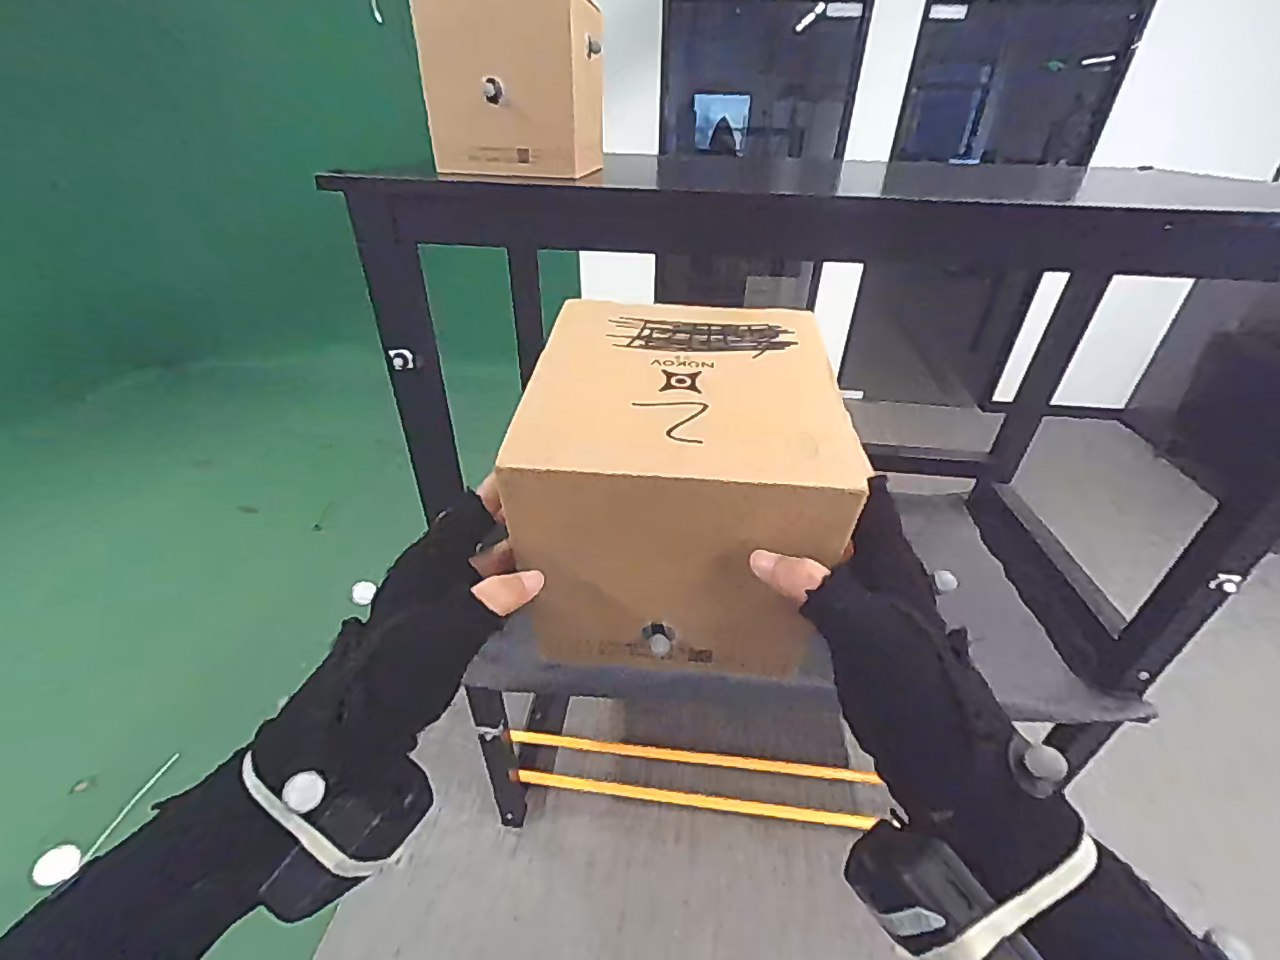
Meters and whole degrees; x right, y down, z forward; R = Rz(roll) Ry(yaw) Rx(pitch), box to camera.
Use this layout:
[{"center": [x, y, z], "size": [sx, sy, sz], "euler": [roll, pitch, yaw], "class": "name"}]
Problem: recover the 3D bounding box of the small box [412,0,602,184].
[{"center": [-0.139, -0.455, 0.643], "size": [0.168, 0.176, 0.179], "euler": [5, 33, 5], "class": "small box"}]
